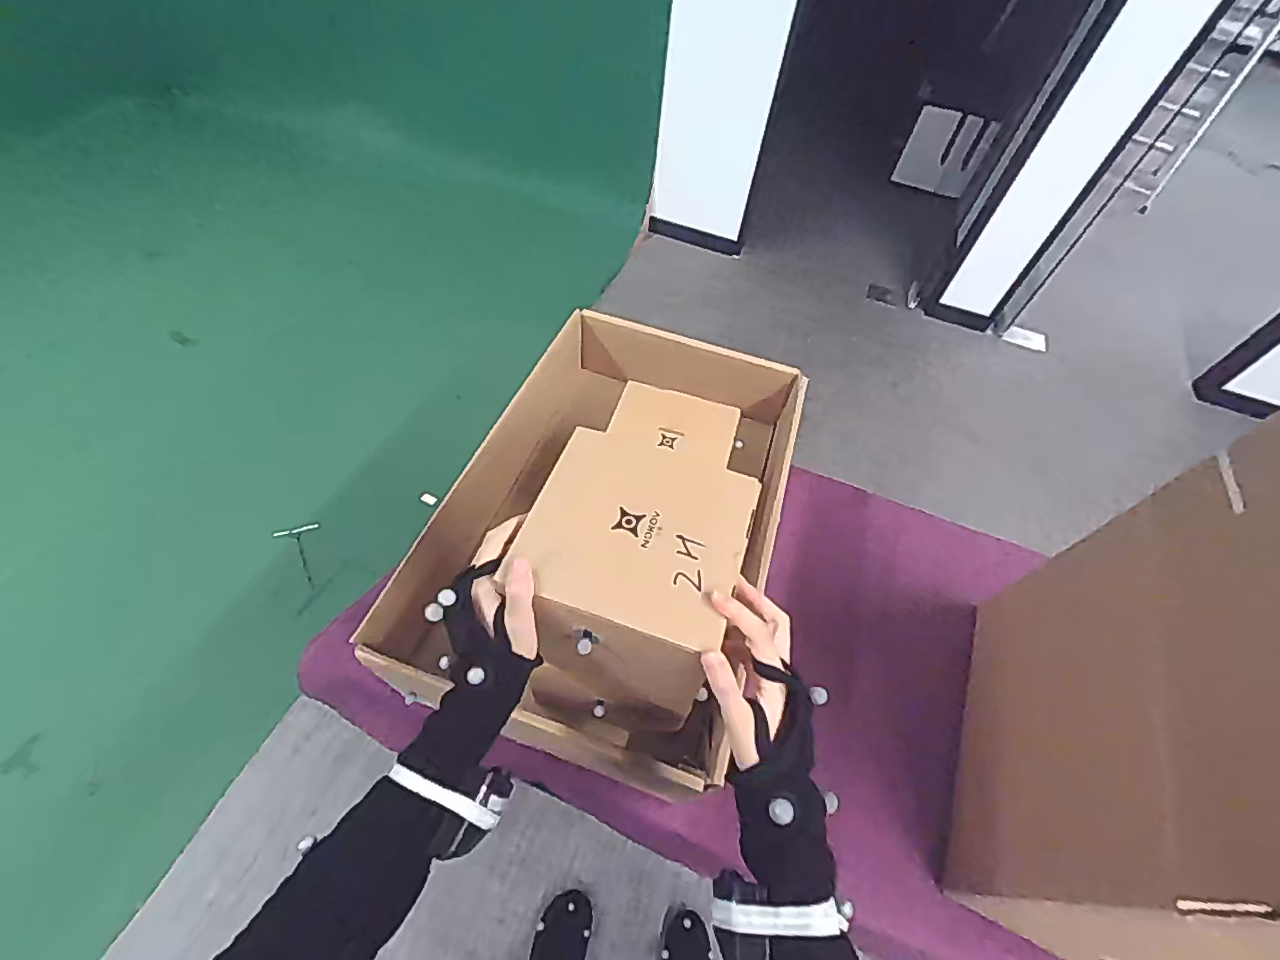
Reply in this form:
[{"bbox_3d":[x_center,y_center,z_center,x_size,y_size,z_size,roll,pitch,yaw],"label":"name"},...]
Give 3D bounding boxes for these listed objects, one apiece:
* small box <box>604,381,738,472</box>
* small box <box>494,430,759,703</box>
[{"bbox_3d":[0.031,-0.008,0.777,0.168,0.176,0.179,15,54,7],"label":"small box"},{"bbox_3d":[-0.009,0.086,0.502,0.179,0.176,0.168,18,56,8],"label":"small box"}]
